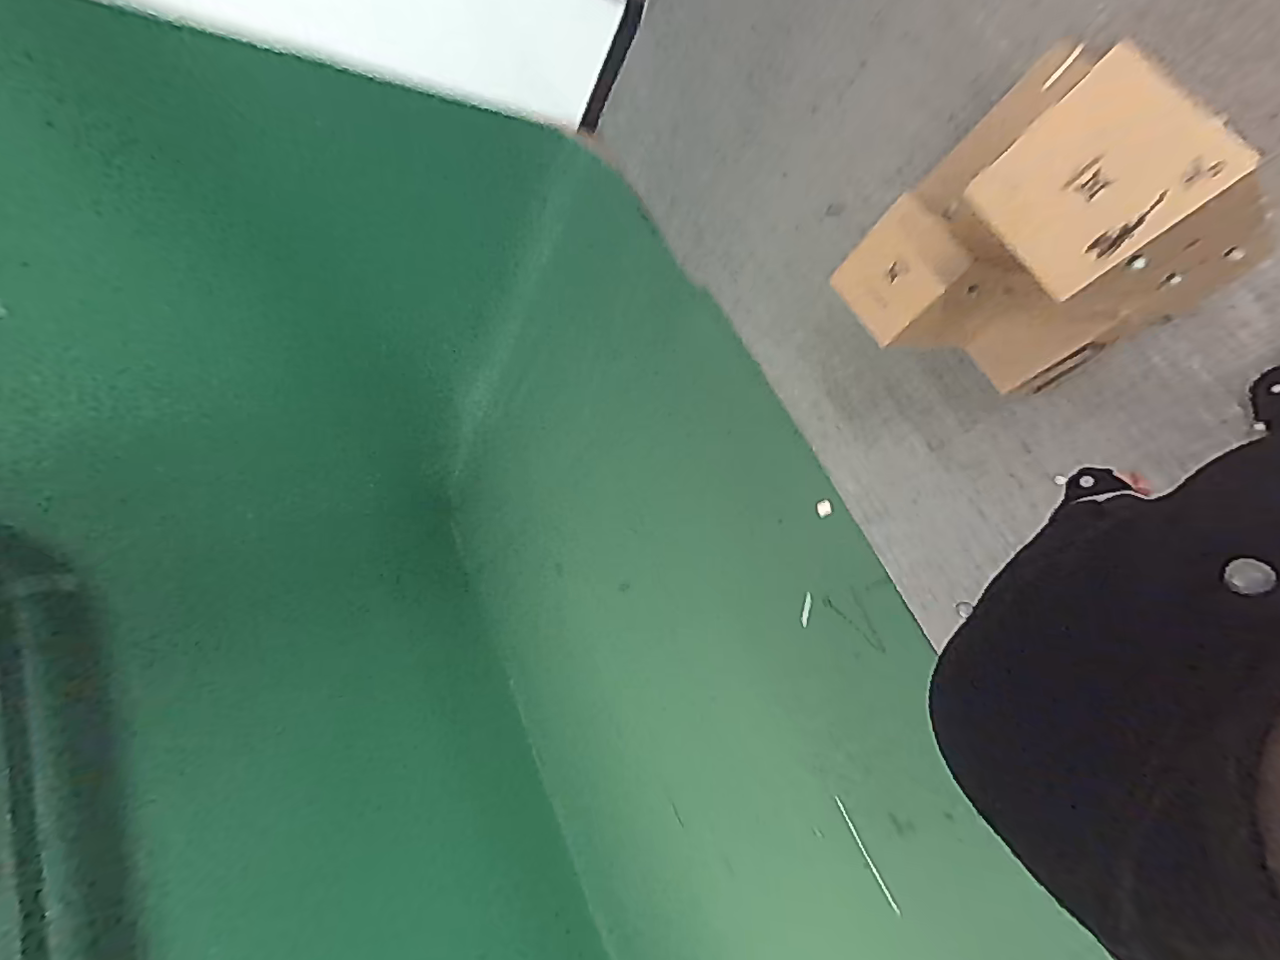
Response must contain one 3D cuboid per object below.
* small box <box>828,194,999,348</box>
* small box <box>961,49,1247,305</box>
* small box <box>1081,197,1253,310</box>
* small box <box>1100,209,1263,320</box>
[{"bbox_3d":[0.467,-0.343,0.915,0.179,0.176,0.168,-50,59,45],"label":"small box"},{"bbox_3d":[0.510,-0.315,0.603,0.168,0.176,0.179,-44,65,45],"label":"small box"},{"bbox_3d":[0.634,-0.341,0.708,0.168,0.176,0.179,-44,66,45],"label":"small box"},{"bbox_3d":[0.760,-0.362,0.810,0.179,0.176,0.168,-45,64,45],"label":"small box"}]
